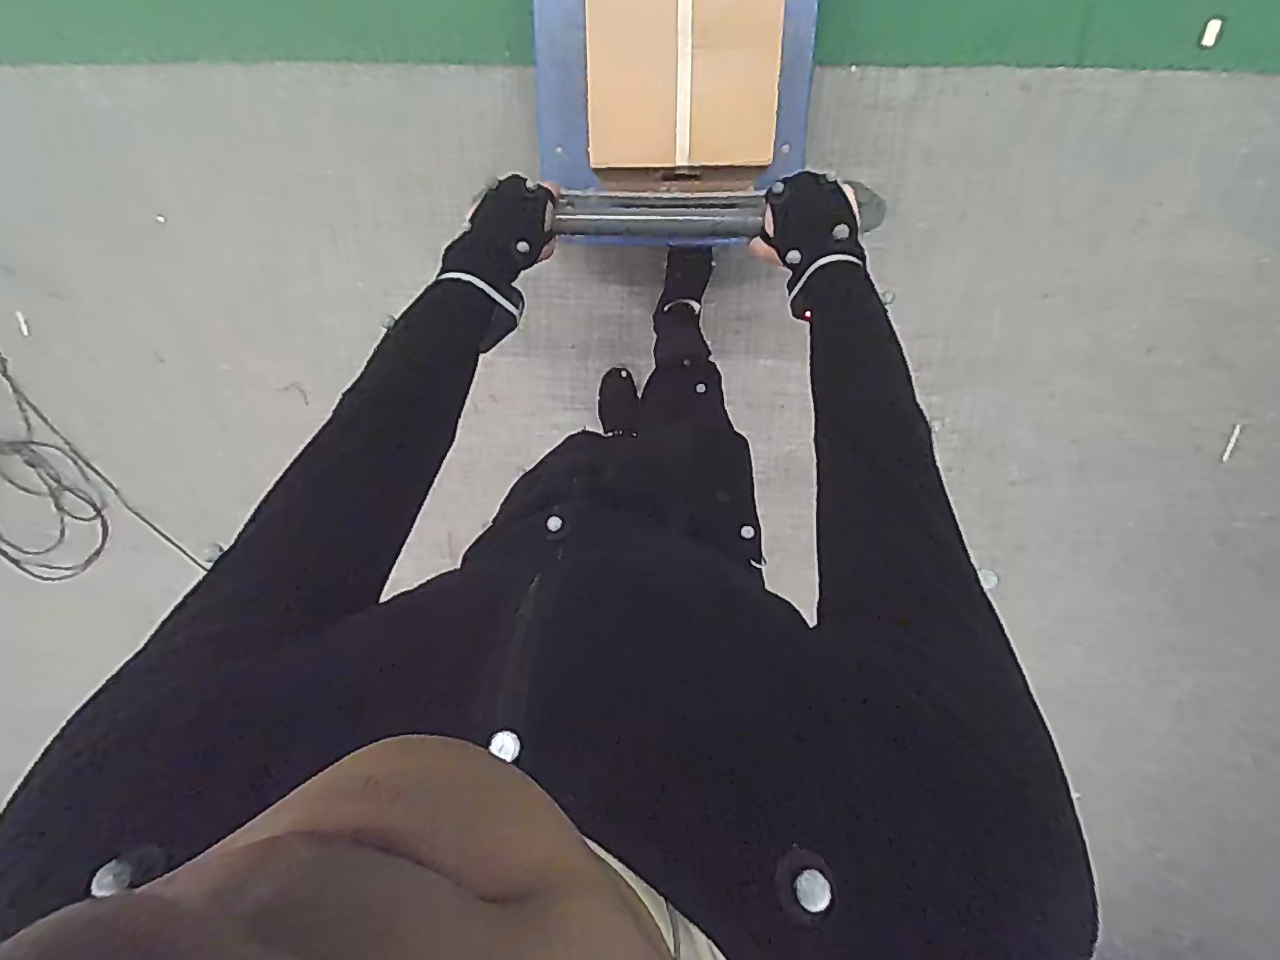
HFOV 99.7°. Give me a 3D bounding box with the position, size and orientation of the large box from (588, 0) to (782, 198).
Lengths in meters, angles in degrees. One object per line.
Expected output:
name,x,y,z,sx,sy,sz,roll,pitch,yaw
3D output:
large box,0.081,-0.773,1.006,0.320,0.320,0.408,1,110,3
